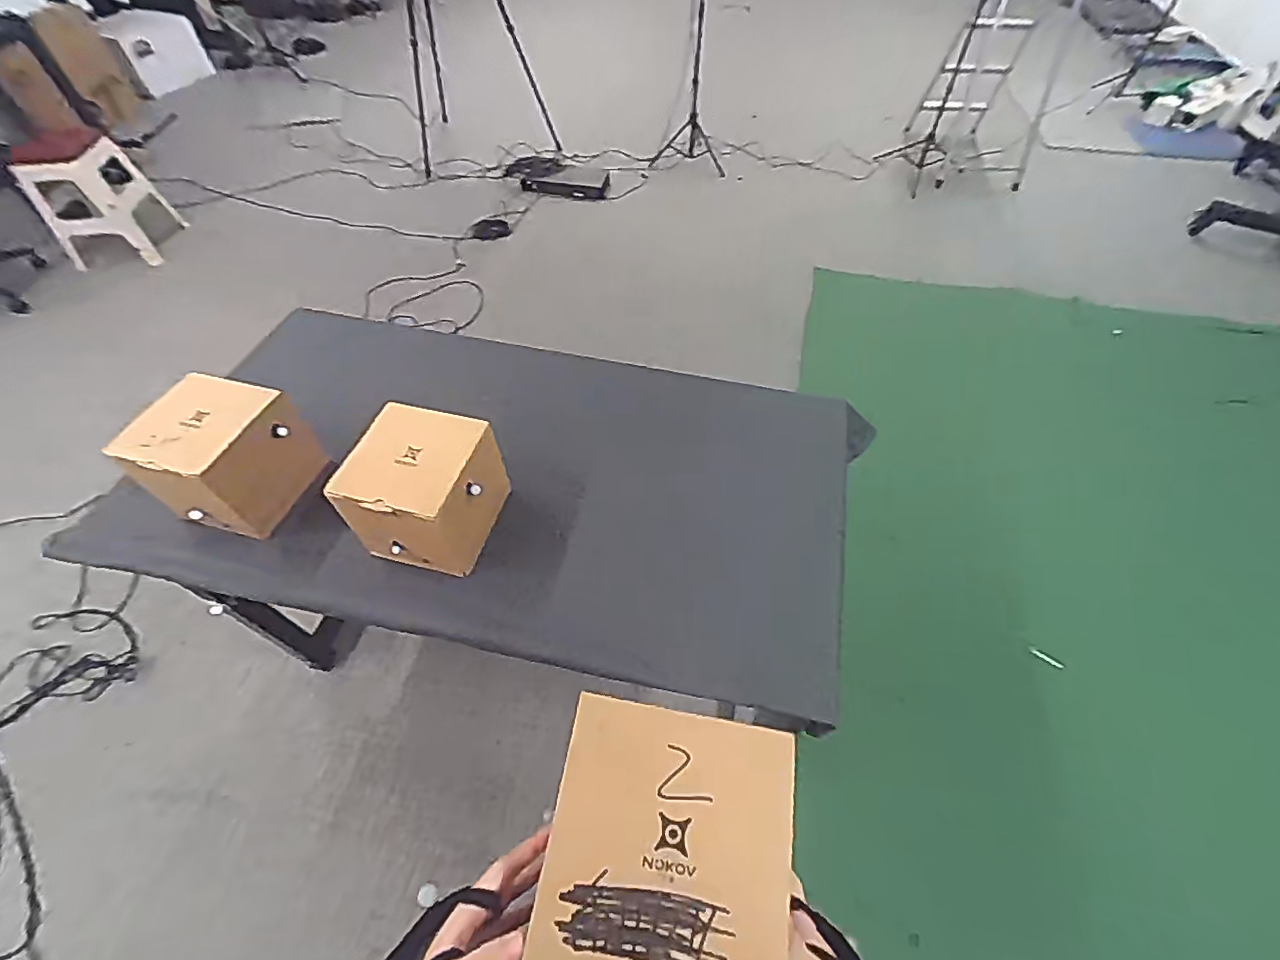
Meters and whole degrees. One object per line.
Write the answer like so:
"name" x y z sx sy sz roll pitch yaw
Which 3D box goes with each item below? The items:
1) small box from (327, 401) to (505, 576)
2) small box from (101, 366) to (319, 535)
"small box" -0.314 0.015 0.808 0.168 0.176 0.179 13 54 8
"small box" -0.640 -0.044 0.839 0.168 0.176 0.179 13 53 9
